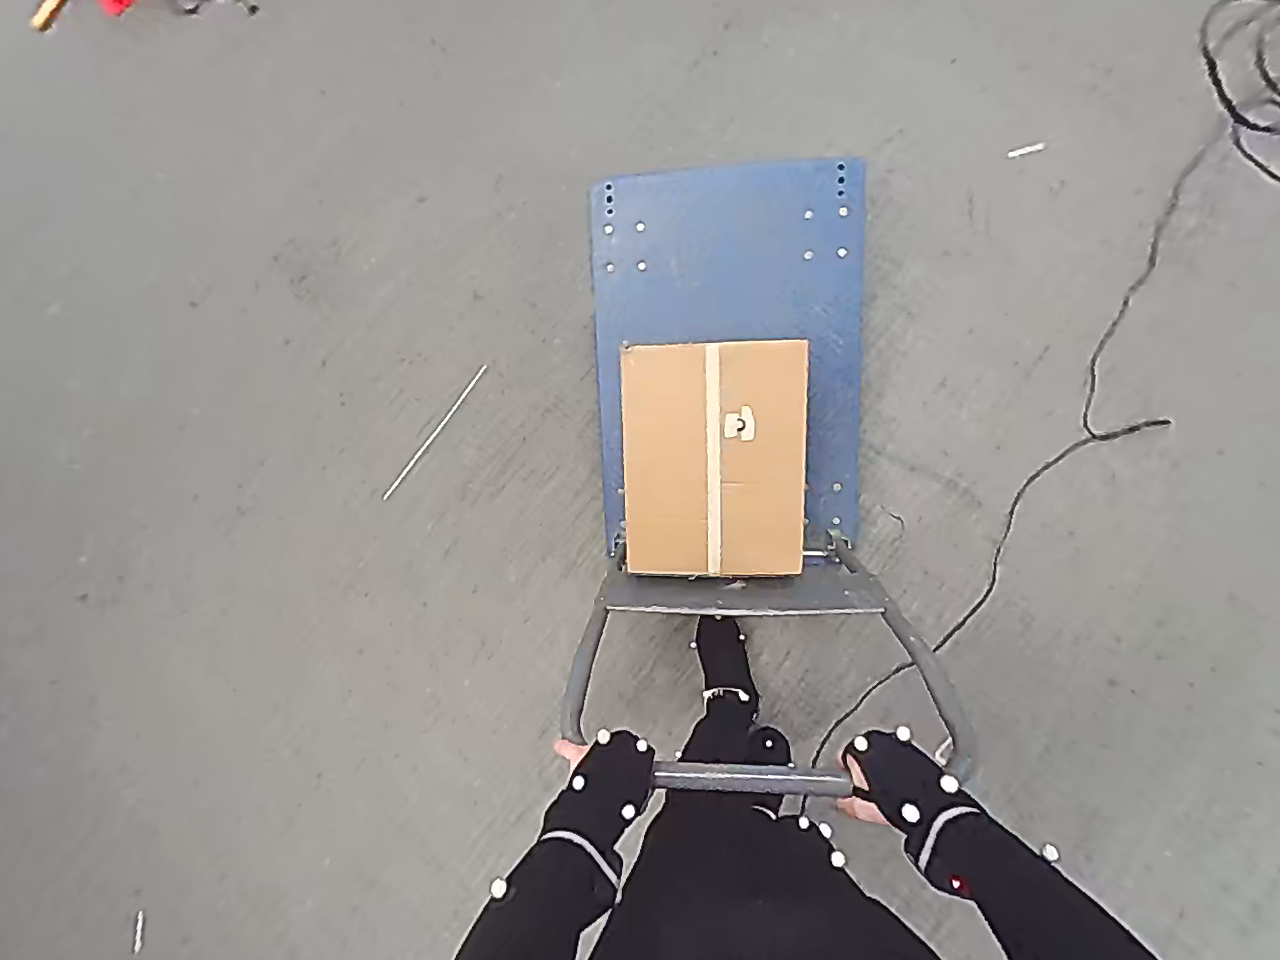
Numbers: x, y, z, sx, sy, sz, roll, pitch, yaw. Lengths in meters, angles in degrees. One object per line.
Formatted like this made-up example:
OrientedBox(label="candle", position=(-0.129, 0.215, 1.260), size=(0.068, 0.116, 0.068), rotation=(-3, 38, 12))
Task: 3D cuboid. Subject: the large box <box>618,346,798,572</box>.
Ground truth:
OrientedBox(label="large box", position=(0.140, -0.048, 1.106), size=(0.320, 0.320, 0.408), rotation=(-1, 99, 6))
